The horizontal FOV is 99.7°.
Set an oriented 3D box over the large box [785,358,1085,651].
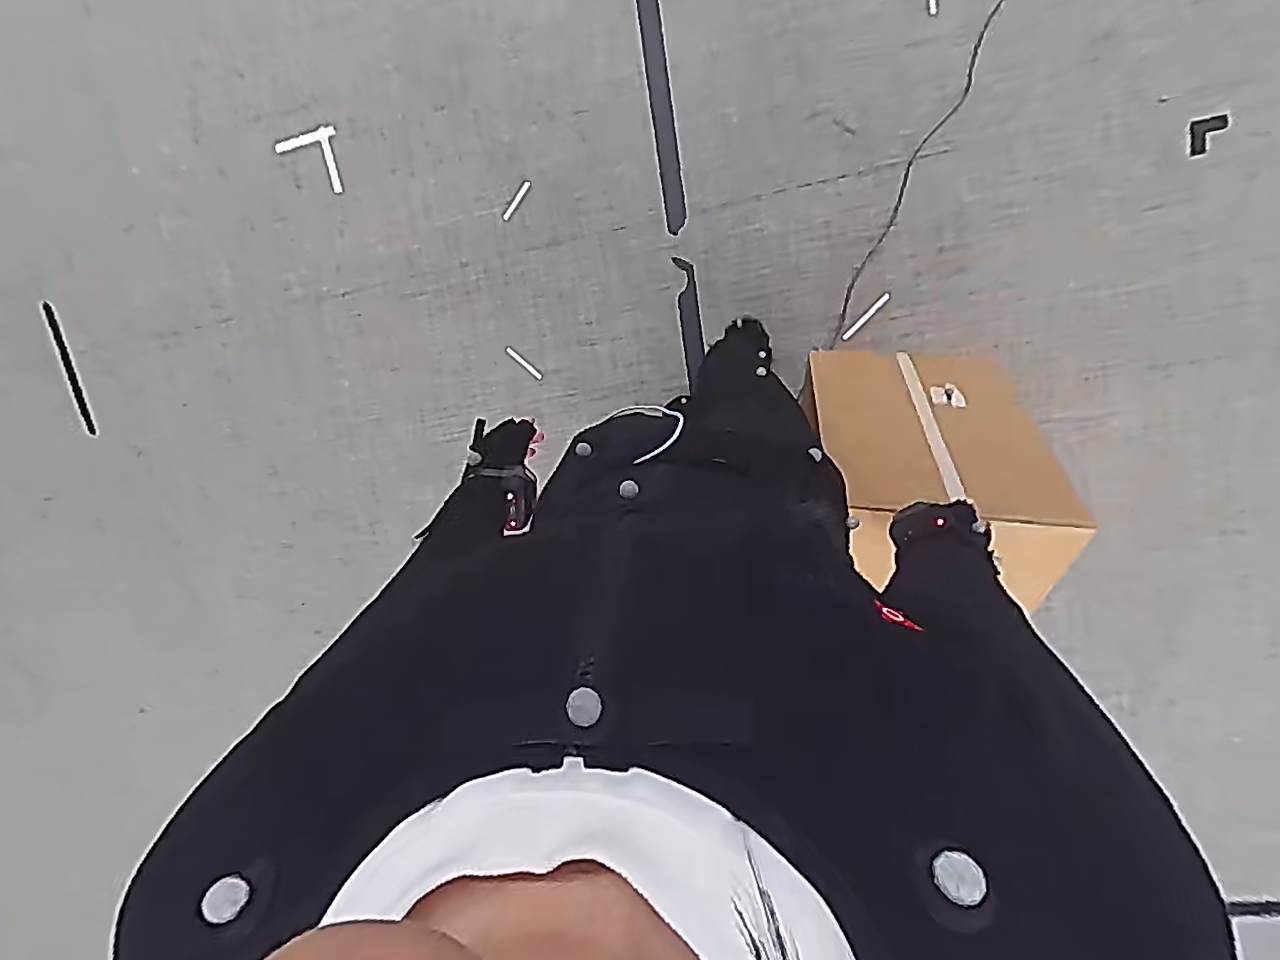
[{"bbox_3d":[0.434,0.029,0.927,0.320,0.408,0.320,5,131,7],"label":"large box"}]
